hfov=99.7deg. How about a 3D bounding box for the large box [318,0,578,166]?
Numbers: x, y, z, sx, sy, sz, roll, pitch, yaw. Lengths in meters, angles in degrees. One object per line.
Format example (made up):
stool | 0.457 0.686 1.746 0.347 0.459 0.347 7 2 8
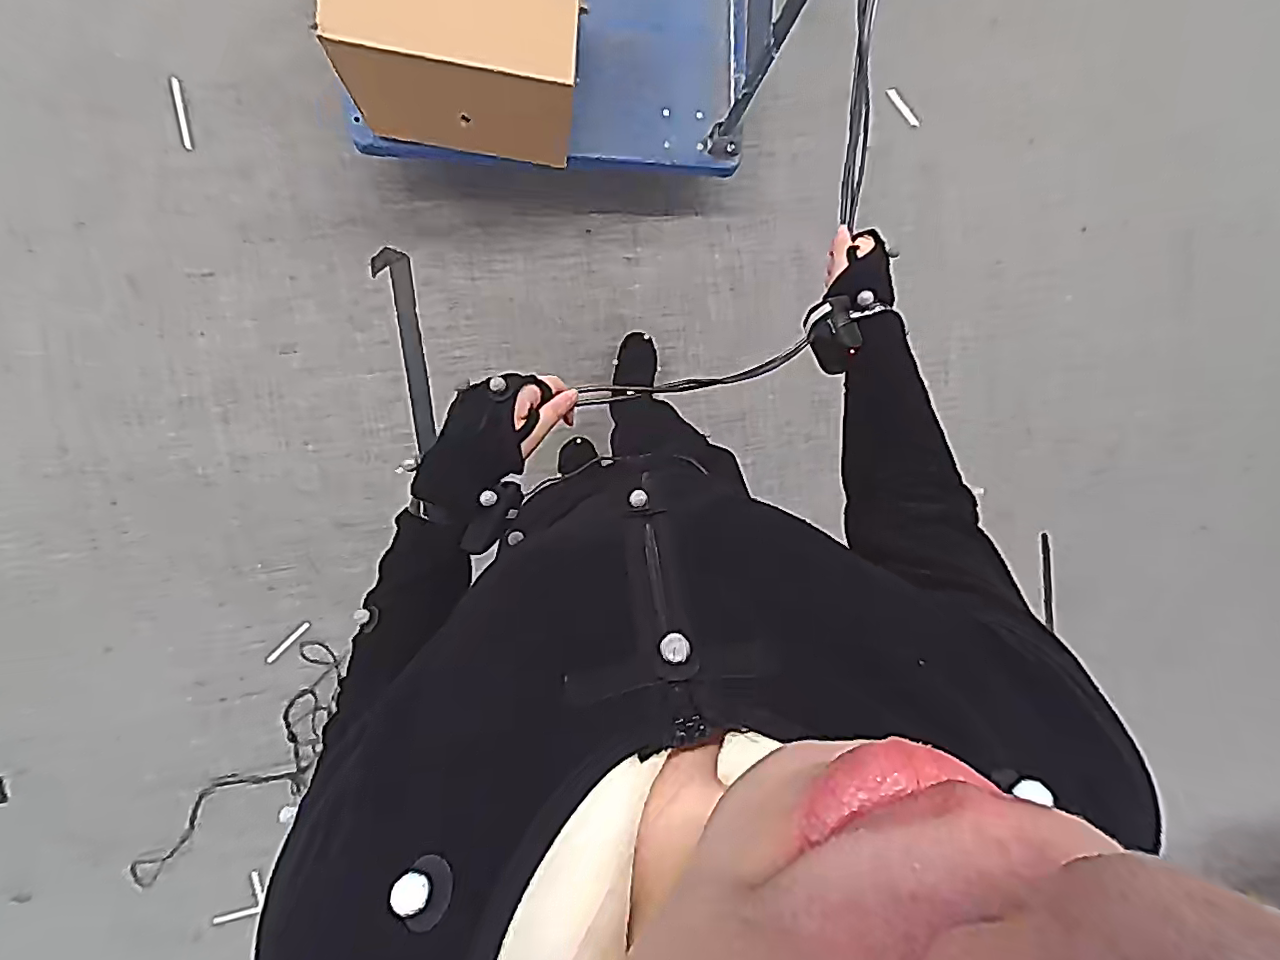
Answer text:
large box | -0.322 -0.836 1.009 0.408 0.320 0.320 3 95 -10
